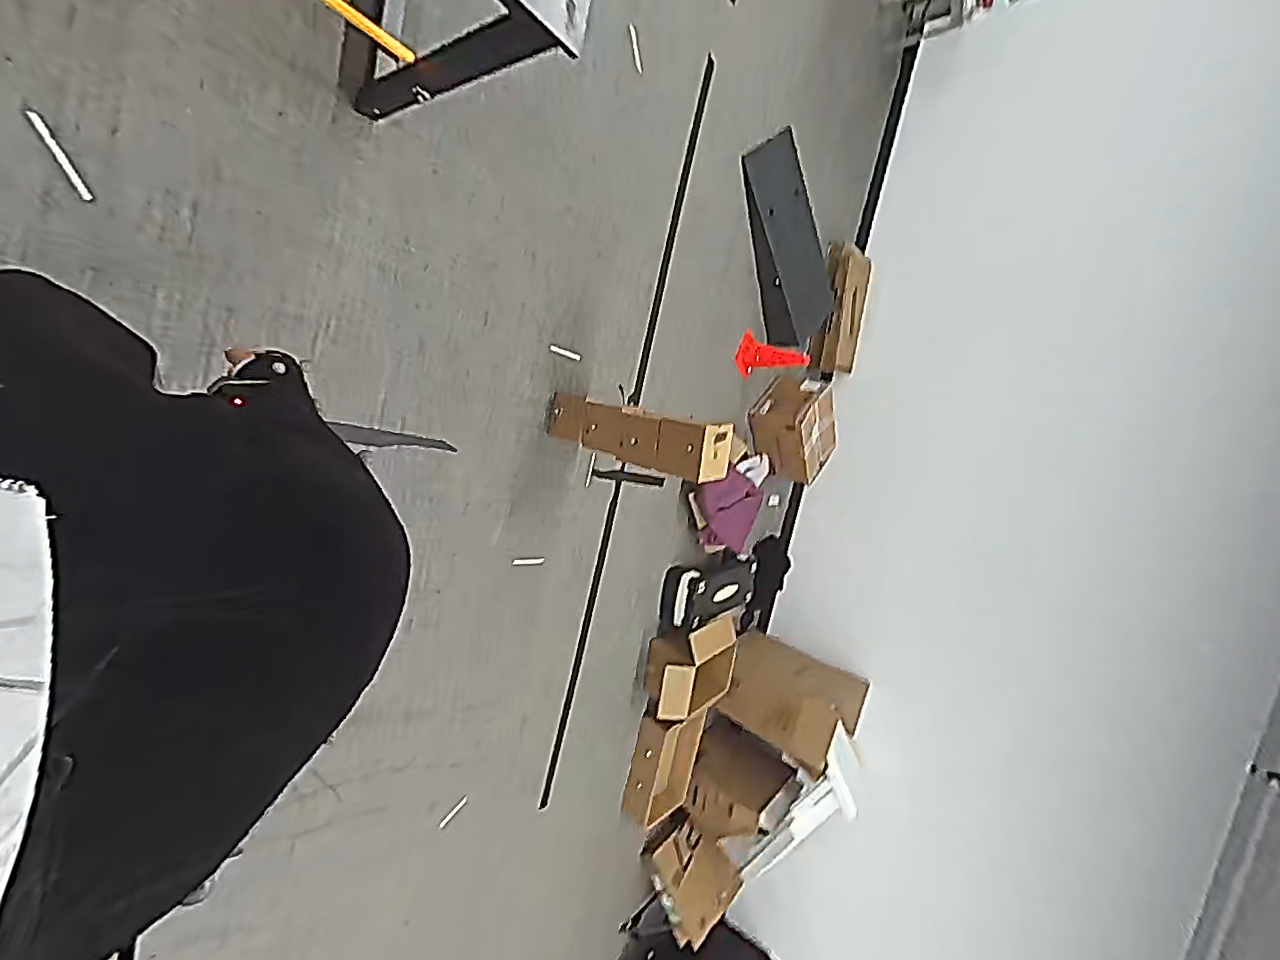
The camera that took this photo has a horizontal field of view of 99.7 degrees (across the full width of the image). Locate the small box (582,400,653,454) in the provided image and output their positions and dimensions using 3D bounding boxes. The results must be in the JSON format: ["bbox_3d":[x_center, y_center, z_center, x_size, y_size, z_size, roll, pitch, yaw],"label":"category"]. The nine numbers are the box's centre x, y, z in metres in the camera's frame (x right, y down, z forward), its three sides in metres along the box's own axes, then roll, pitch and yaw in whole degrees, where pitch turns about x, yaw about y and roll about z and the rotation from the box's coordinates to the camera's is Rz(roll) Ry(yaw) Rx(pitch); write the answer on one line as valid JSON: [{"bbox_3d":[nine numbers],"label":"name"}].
[{"bbox_3d":[-0.081,-0.190,1.911,0.179,0.176,0.168,-6,107,-50],"label":"small box"}]

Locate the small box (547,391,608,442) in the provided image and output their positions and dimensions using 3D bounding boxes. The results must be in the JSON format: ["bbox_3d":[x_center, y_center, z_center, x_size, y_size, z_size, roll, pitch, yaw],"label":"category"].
[{"bbox_3d":[-0.214,-0.231,2.001,0.179,0.176,0.168,2,101,-50],"label":"small box"}]

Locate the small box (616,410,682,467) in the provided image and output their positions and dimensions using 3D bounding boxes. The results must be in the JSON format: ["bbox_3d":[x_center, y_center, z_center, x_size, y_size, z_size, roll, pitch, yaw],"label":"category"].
[{"bbox_3d":[0.039,-0.141,1.810,0.179,0.176,0.168,-9,109,-50],"label":"small box"}]

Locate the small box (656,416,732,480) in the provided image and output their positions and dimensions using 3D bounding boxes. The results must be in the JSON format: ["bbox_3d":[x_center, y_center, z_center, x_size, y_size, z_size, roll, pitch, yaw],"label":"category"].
[{"bbox_3d":[0.168,-0.108,1.712,0.168,0.176,0.179,-10,111,-50],"label":"small box"}]
